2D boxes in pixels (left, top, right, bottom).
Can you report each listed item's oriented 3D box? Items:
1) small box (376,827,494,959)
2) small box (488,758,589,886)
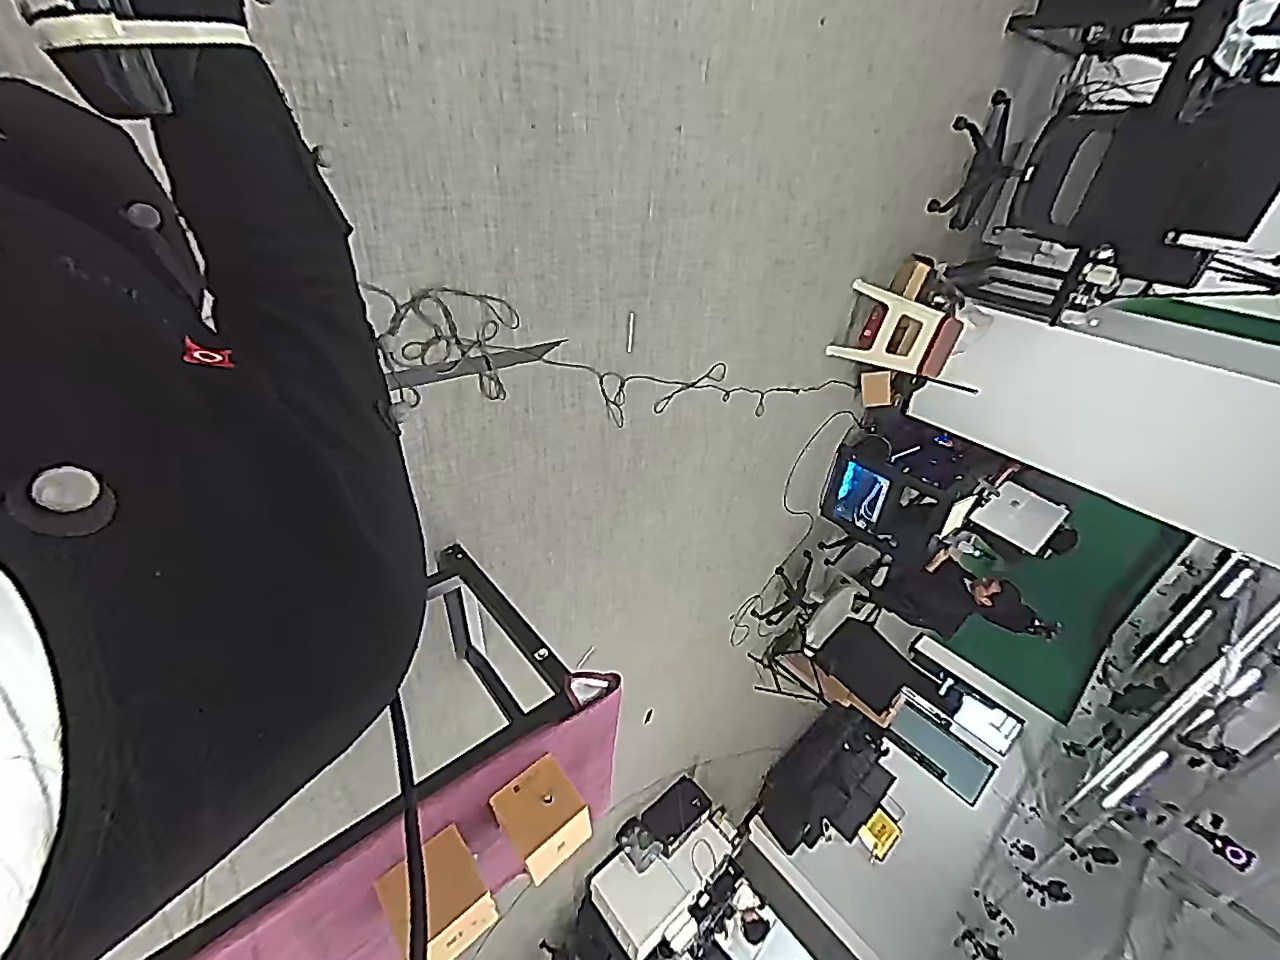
[{"bbox_3d":[-0.432,0.885,1.133,0.179,0.176,0.168,-26,135,-32],"label":"small box"},{"bbox_3d":[-0.241,0.800,1.282,0.168,0.176,0.179,-29,136,-31],"label":"small box"}]
